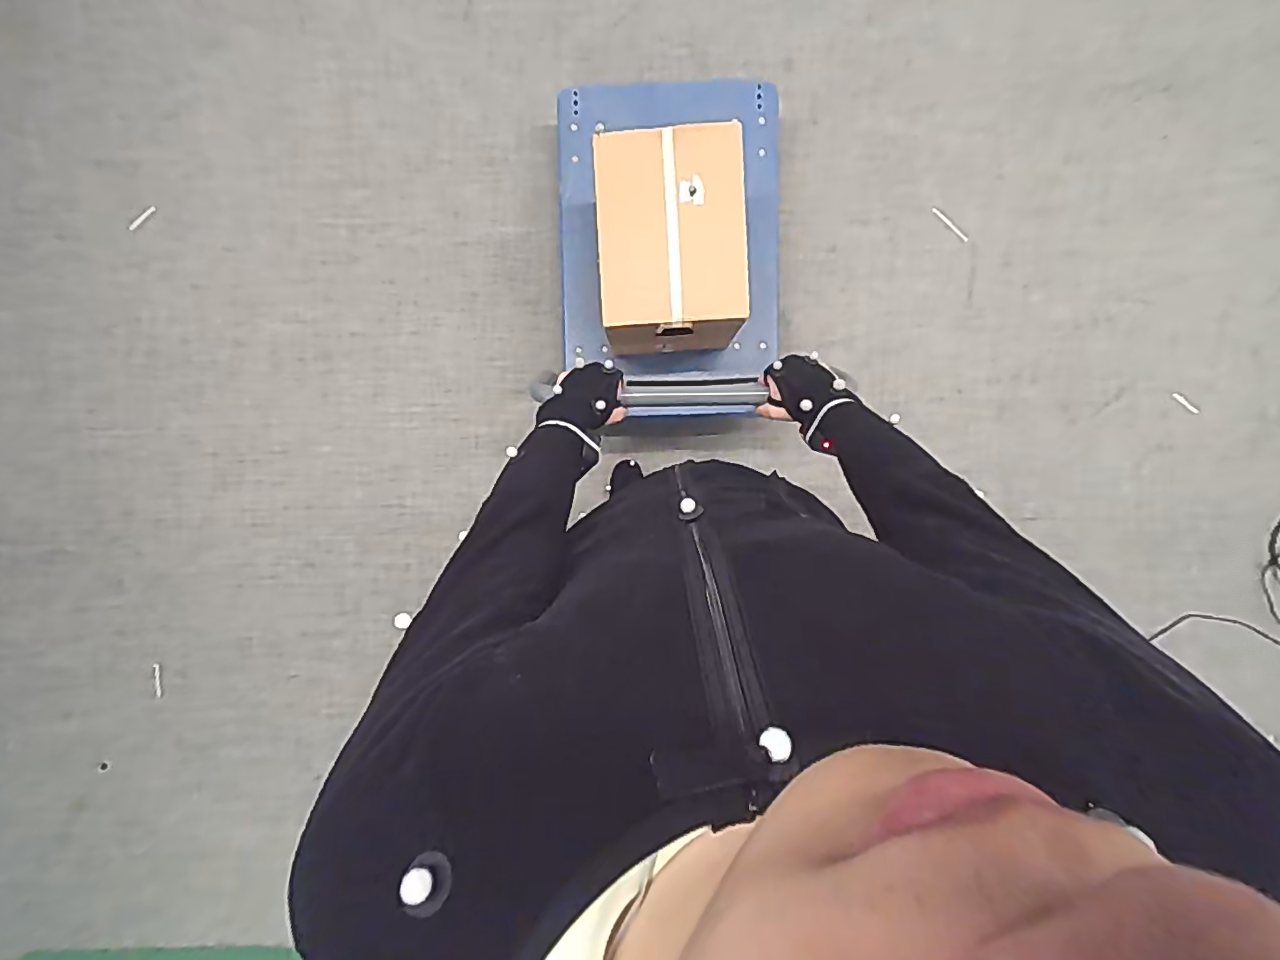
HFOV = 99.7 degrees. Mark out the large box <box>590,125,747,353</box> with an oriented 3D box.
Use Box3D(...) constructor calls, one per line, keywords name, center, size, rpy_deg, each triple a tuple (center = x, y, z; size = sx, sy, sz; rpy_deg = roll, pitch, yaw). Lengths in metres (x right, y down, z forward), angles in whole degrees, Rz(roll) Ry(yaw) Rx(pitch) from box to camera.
Box3D(name="large box", center=(0.067, -0.541, 1.291), size=(0.320, 0.320, 0.408), rpy_deg=(-3, 93, 1))
